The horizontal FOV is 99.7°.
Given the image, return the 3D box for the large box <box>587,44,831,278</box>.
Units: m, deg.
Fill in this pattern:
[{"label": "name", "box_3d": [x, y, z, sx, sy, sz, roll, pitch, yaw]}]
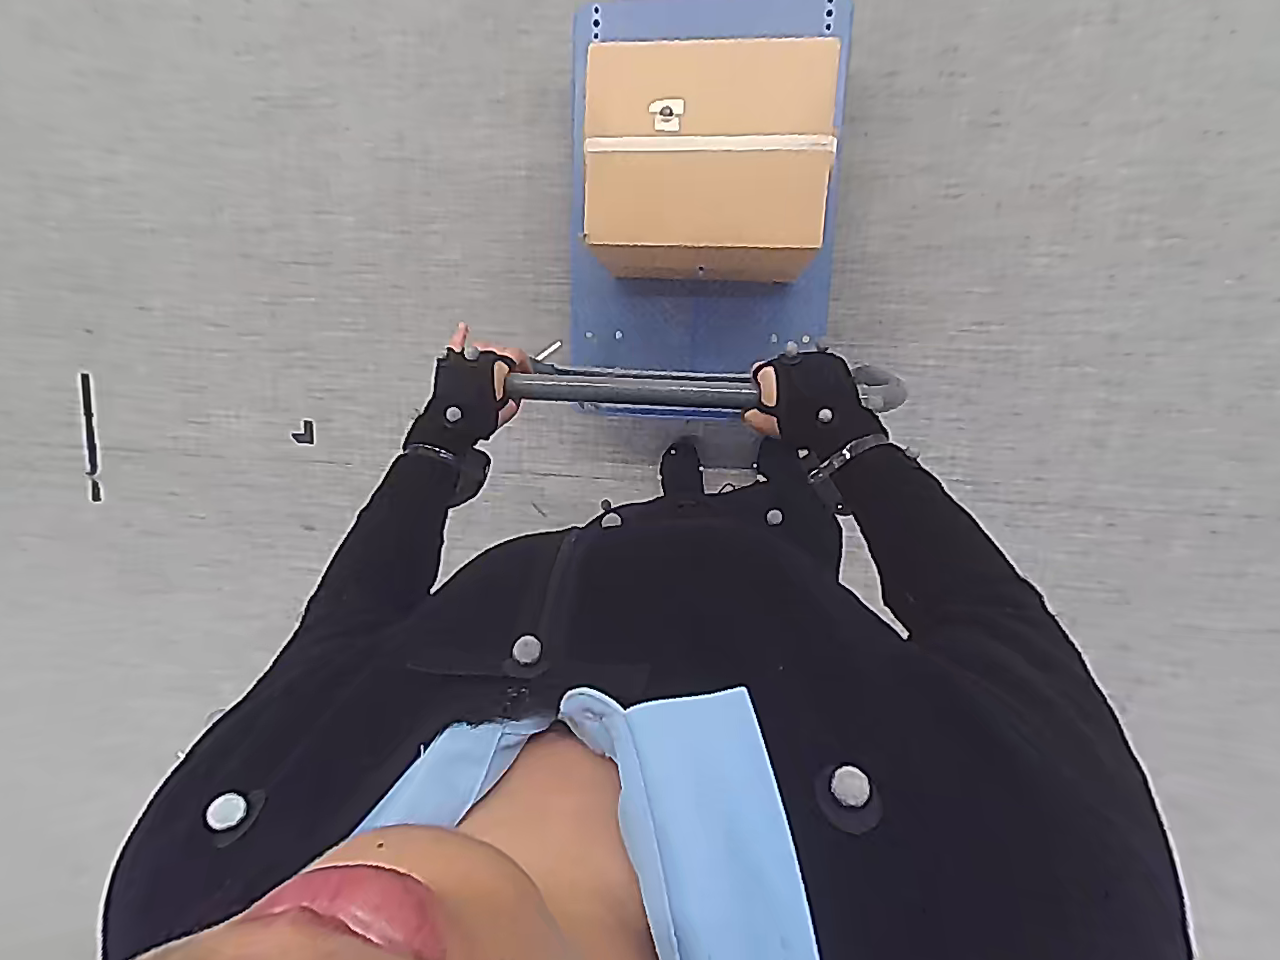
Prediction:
[{"label": "large box", "box_3d": [0.128, -0.582, 1.058, 0.408, 0.320, 0.320, 4, 99, 7]}]
